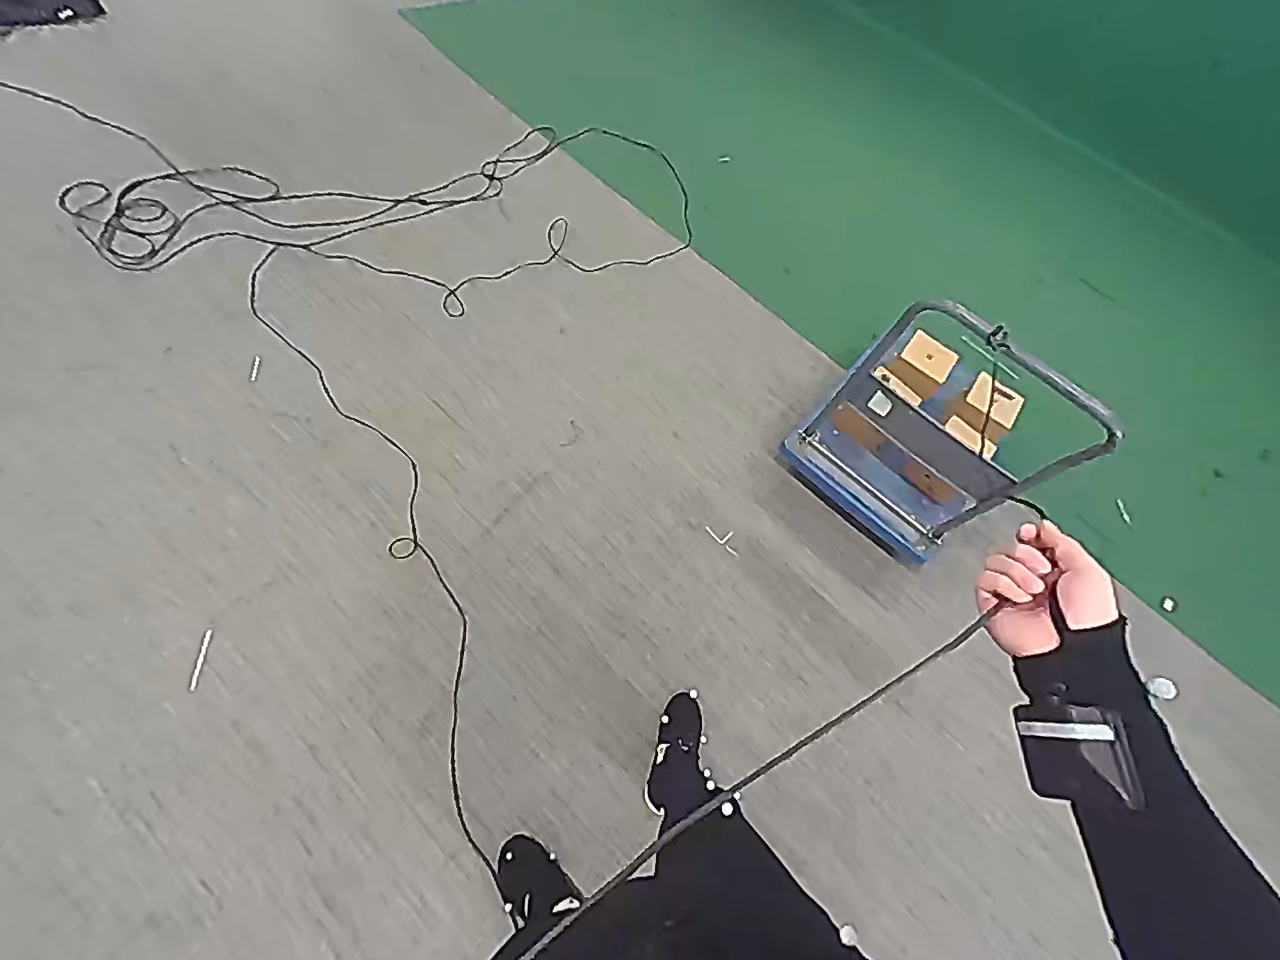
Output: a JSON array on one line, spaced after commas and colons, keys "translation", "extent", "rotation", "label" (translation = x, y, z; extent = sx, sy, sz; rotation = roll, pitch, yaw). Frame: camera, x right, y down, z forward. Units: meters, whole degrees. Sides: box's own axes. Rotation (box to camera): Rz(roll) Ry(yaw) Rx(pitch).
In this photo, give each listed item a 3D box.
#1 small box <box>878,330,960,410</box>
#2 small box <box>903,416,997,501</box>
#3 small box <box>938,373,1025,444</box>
[{"translation": [0.970, -0.380, 1.895], "extent": [0.168, 0.176, 0.179], "rotation": [39, 61, 9], "label": "small box"}, {"translation": [0.985, -0.065, 1.730], "extent": [0.168, 0.176, 0.179], "rotation": [43, 63, 12], "label": "small box"}, {"translation": [1.164, -0.225, 1.854], "extent": [0.168, 0.176, 0.179], "rotation": [39, 62, 10], "label": "small box"}]
